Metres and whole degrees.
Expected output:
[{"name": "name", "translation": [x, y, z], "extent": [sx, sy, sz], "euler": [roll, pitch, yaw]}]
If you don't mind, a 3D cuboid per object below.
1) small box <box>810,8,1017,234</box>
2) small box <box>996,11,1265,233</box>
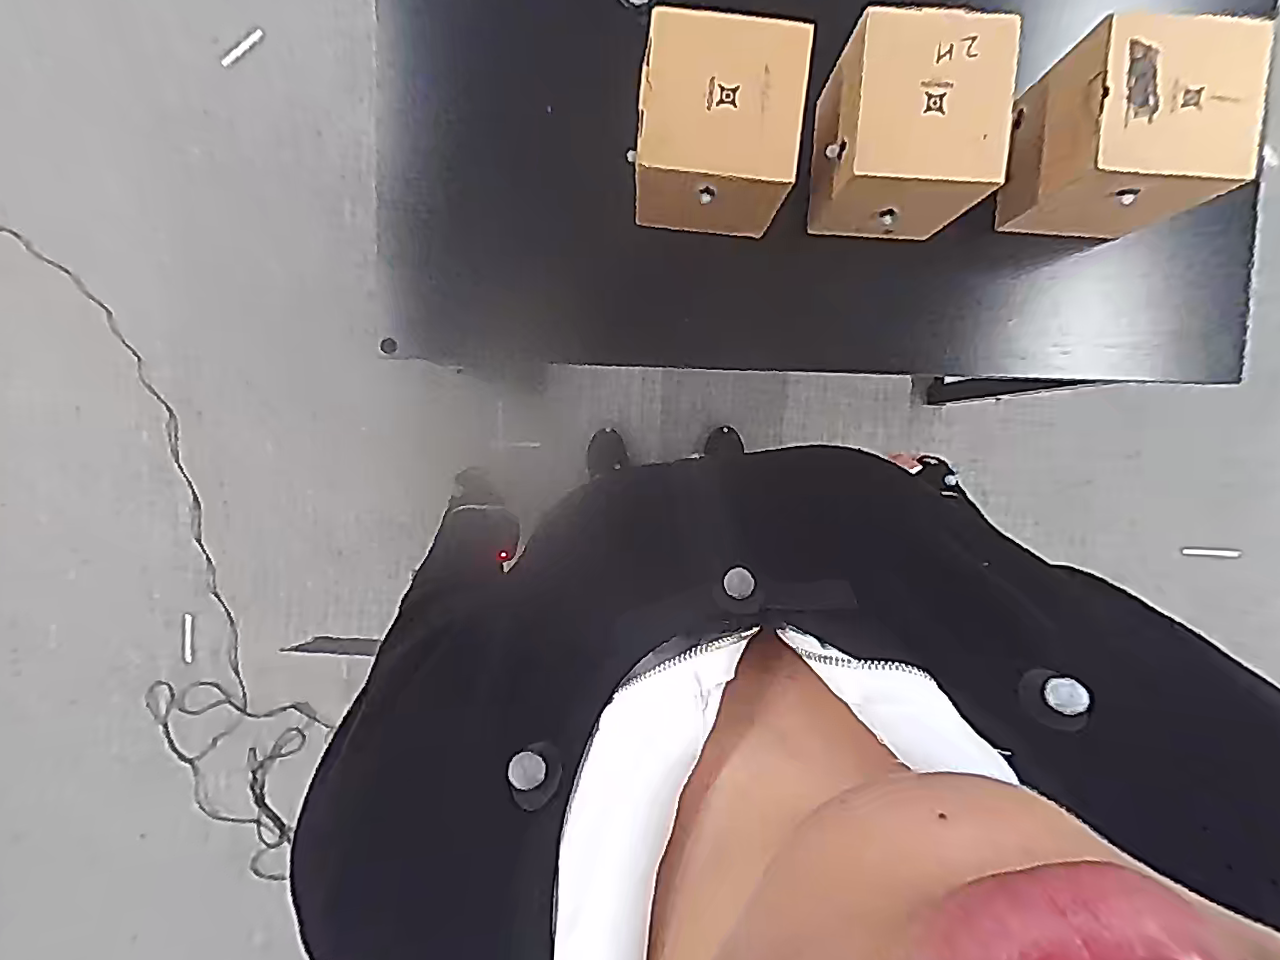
[{"name": "small box", "translation": [0.318, -0.422, 0.666], "extent": [0.168, 0.176, 0.179], "euler": [3, 94, 0]}, {"name": "small box", "translation": [0.579, -0.421, 0.665], "extent": [0.179, 0.176, 0.168], "euler": [4, 94, 0]}]
